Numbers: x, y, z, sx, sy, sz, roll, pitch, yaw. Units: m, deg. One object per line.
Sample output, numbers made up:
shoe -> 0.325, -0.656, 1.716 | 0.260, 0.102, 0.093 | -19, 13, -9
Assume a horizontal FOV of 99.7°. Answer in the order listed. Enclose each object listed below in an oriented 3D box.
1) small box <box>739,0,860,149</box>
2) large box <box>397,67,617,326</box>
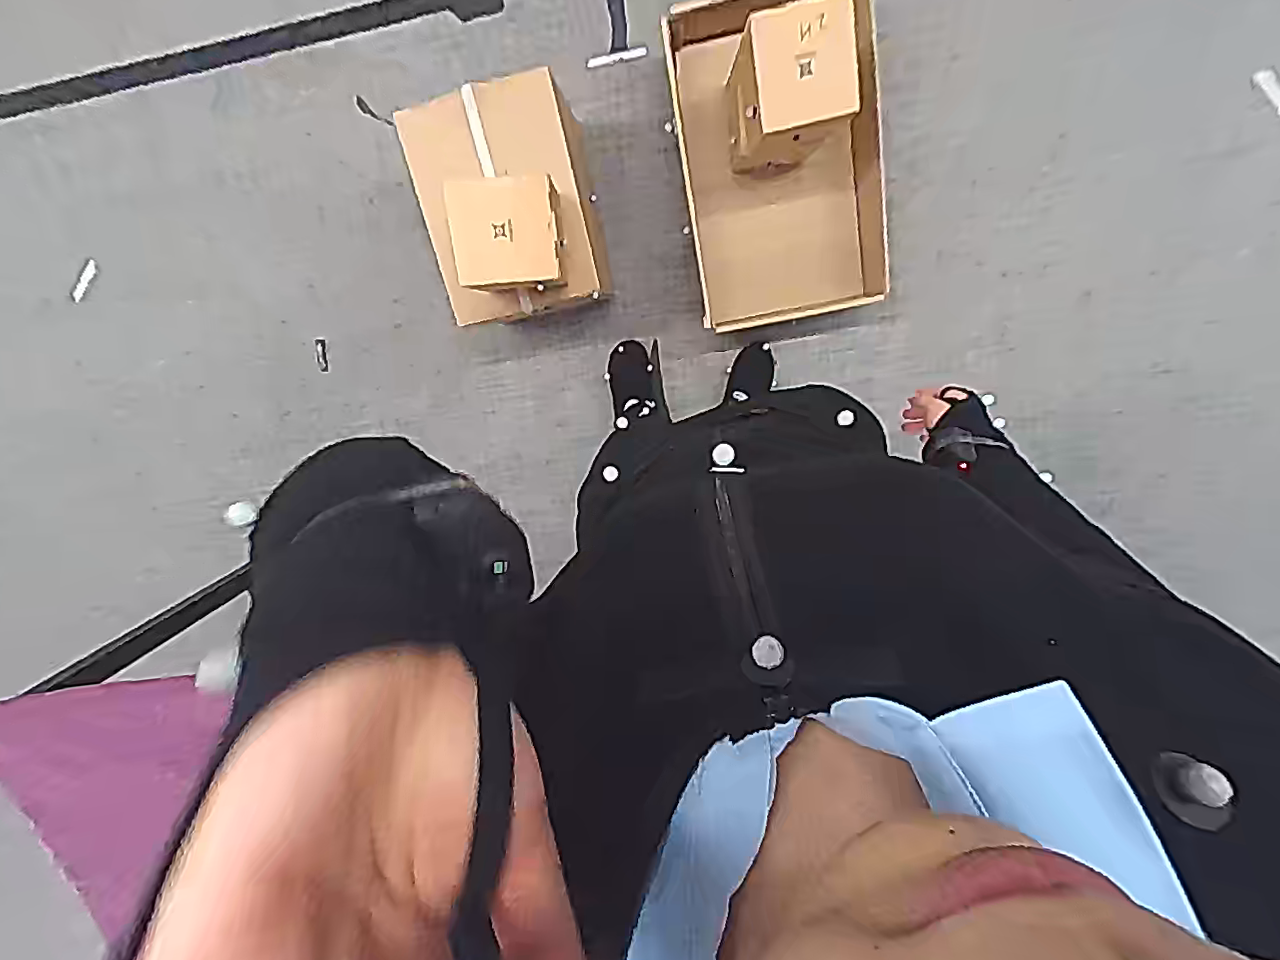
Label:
small box -> 0.278, -0.713, 0.963 | 0.168, 0.176, 0.179 | -10, 108, 5
large box -> -0.257, -0.581, 1.192 | 0.320, 0.320, 0.408 | -11, 107, 8
